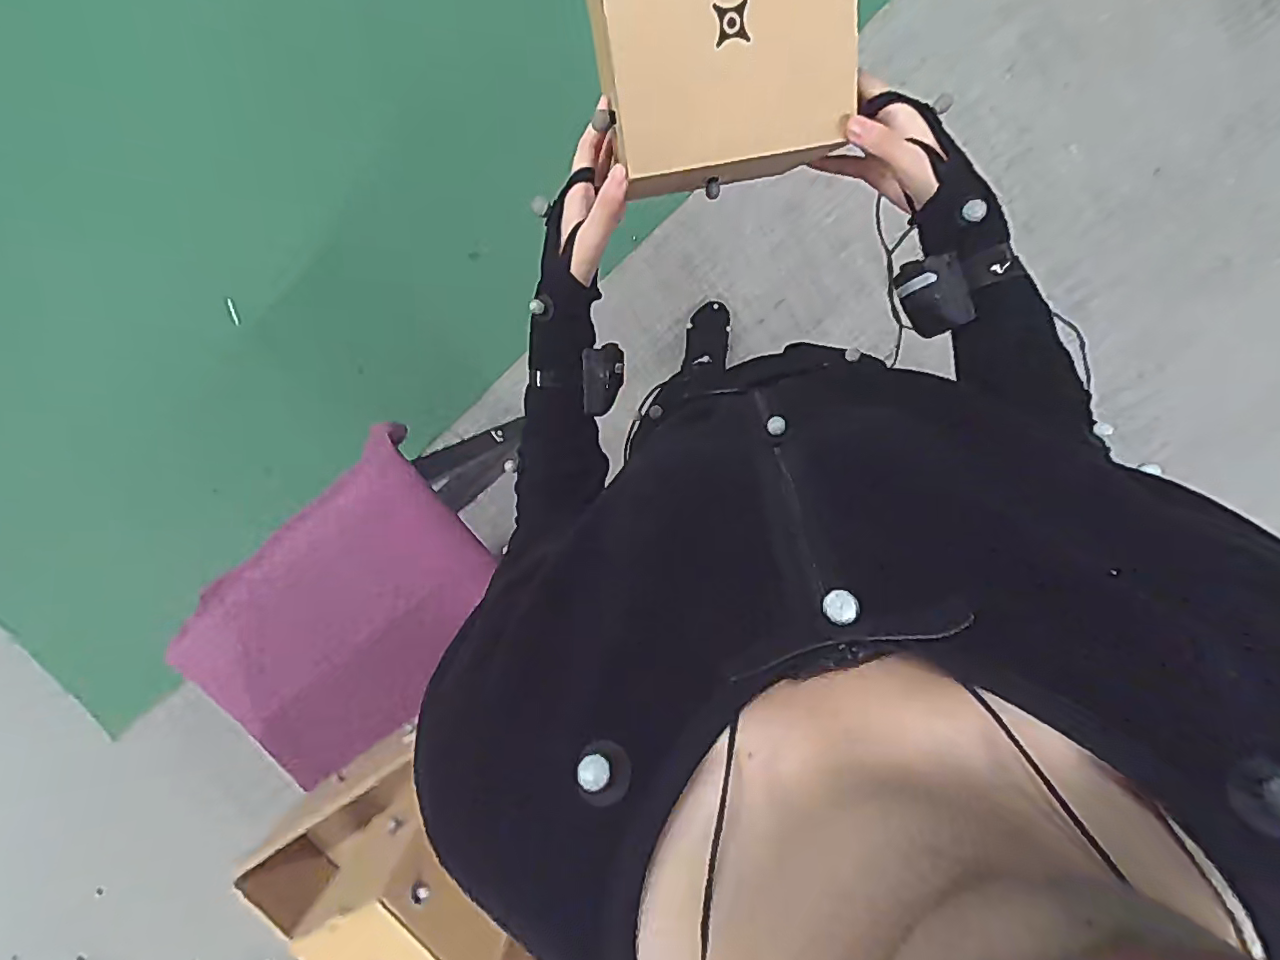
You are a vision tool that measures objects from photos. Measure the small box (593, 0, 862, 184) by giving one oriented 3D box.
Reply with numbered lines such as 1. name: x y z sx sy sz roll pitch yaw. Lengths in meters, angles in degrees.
1. small box: 0.055 -0.338 0.414 0.168 0.176 0.179 -10 113 -1

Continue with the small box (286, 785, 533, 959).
1. small box: -0.260 0.519 0.653 0.168 0.176 0.179 -37 97 17
